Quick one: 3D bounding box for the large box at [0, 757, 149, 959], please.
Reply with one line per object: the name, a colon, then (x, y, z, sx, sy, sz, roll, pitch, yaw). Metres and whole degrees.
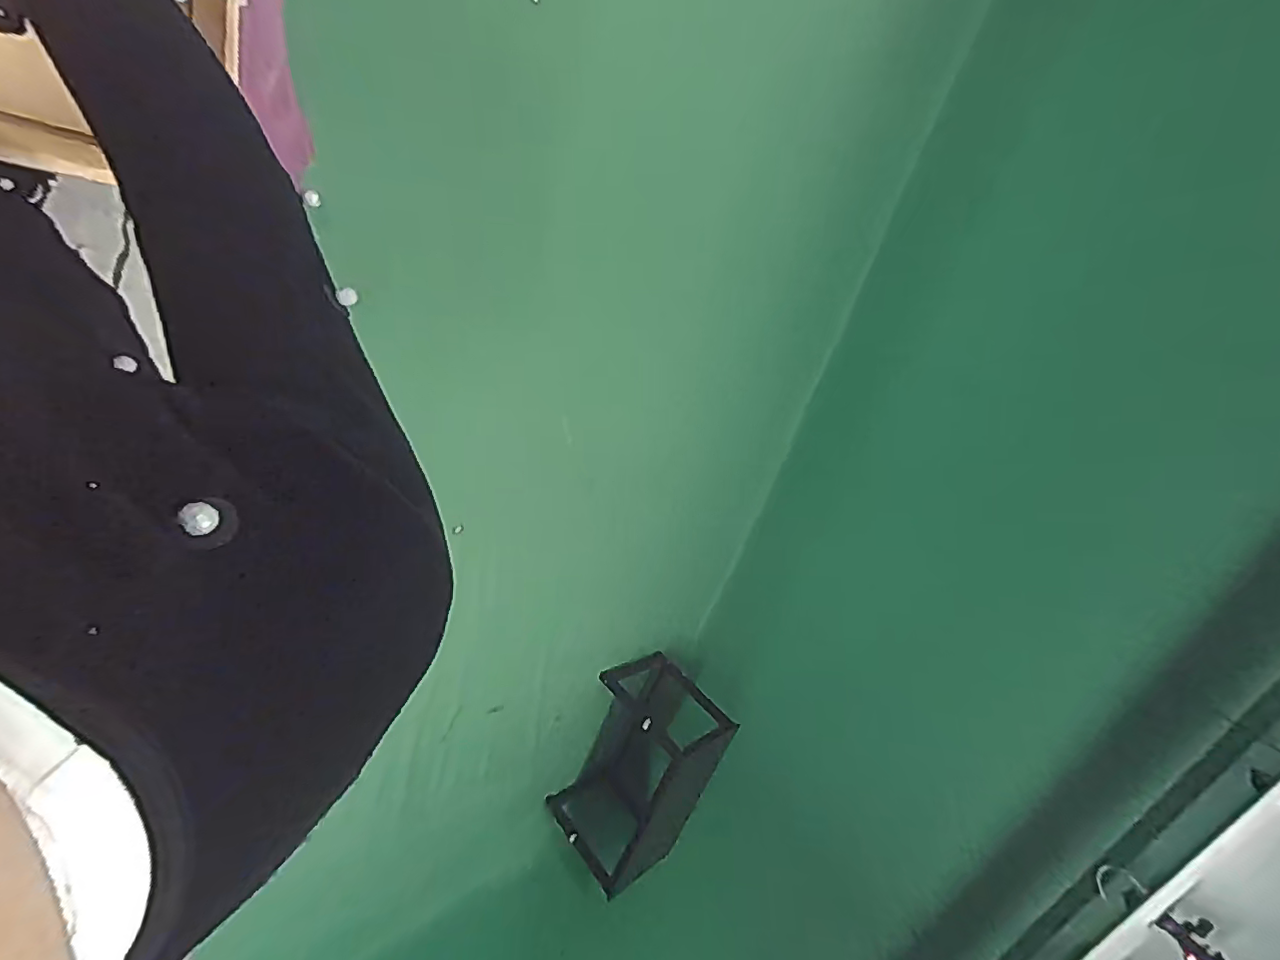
large box: (-1.651, 1.043, 1.431, 0.408, 0.320, 0.320, -37, 141, -24)
